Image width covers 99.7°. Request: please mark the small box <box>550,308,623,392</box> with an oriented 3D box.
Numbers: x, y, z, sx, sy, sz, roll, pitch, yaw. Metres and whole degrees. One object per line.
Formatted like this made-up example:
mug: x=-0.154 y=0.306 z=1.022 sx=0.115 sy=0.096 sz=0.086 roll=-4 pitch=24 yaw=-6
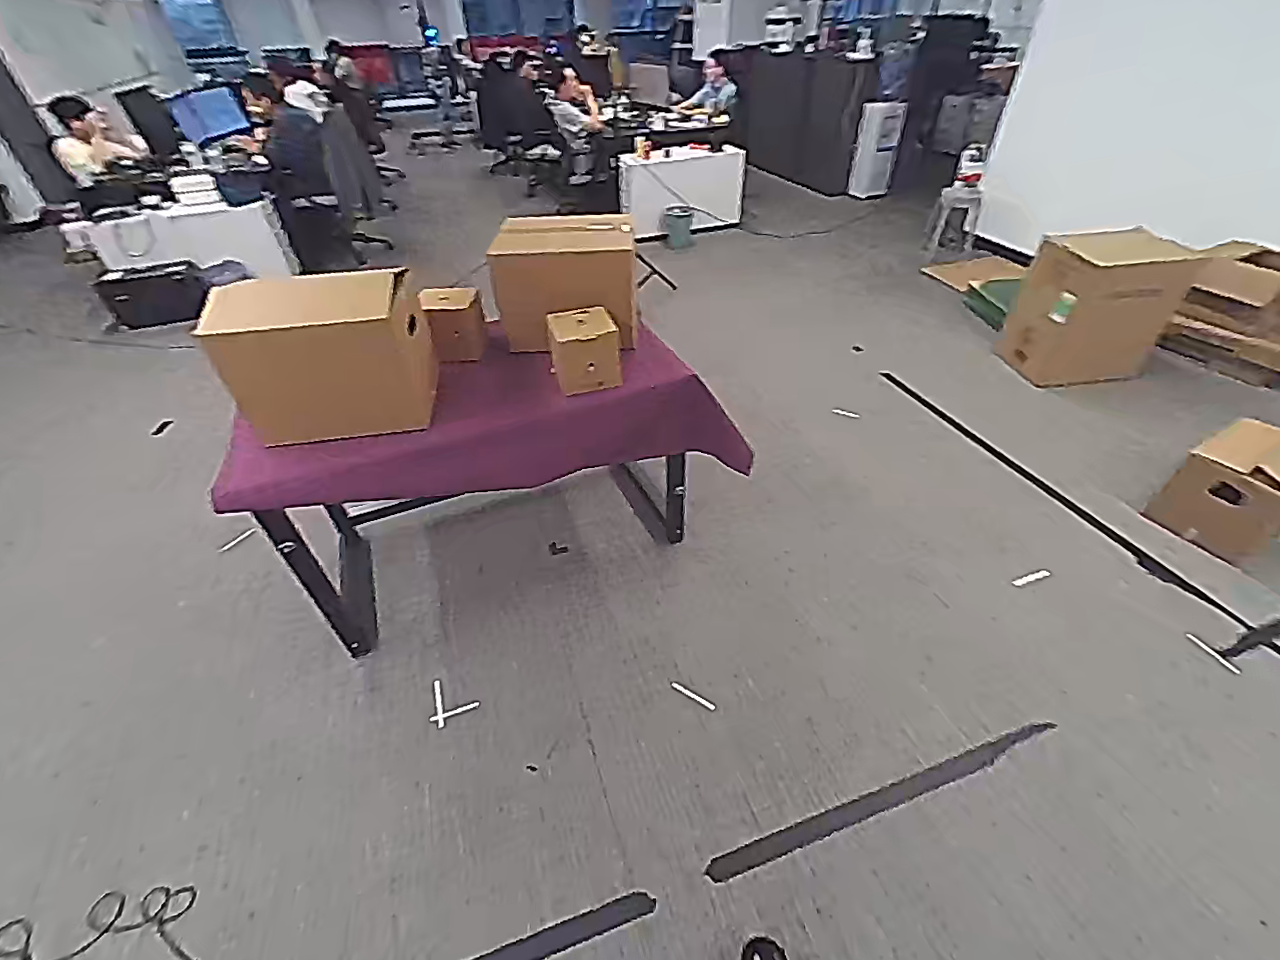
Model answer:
small box: x=-0.149 y=-0.359 z=1.520 sx=0.168 sy=0.176 sz=0.179 roll=-13 pitch=42 yaw=-12
